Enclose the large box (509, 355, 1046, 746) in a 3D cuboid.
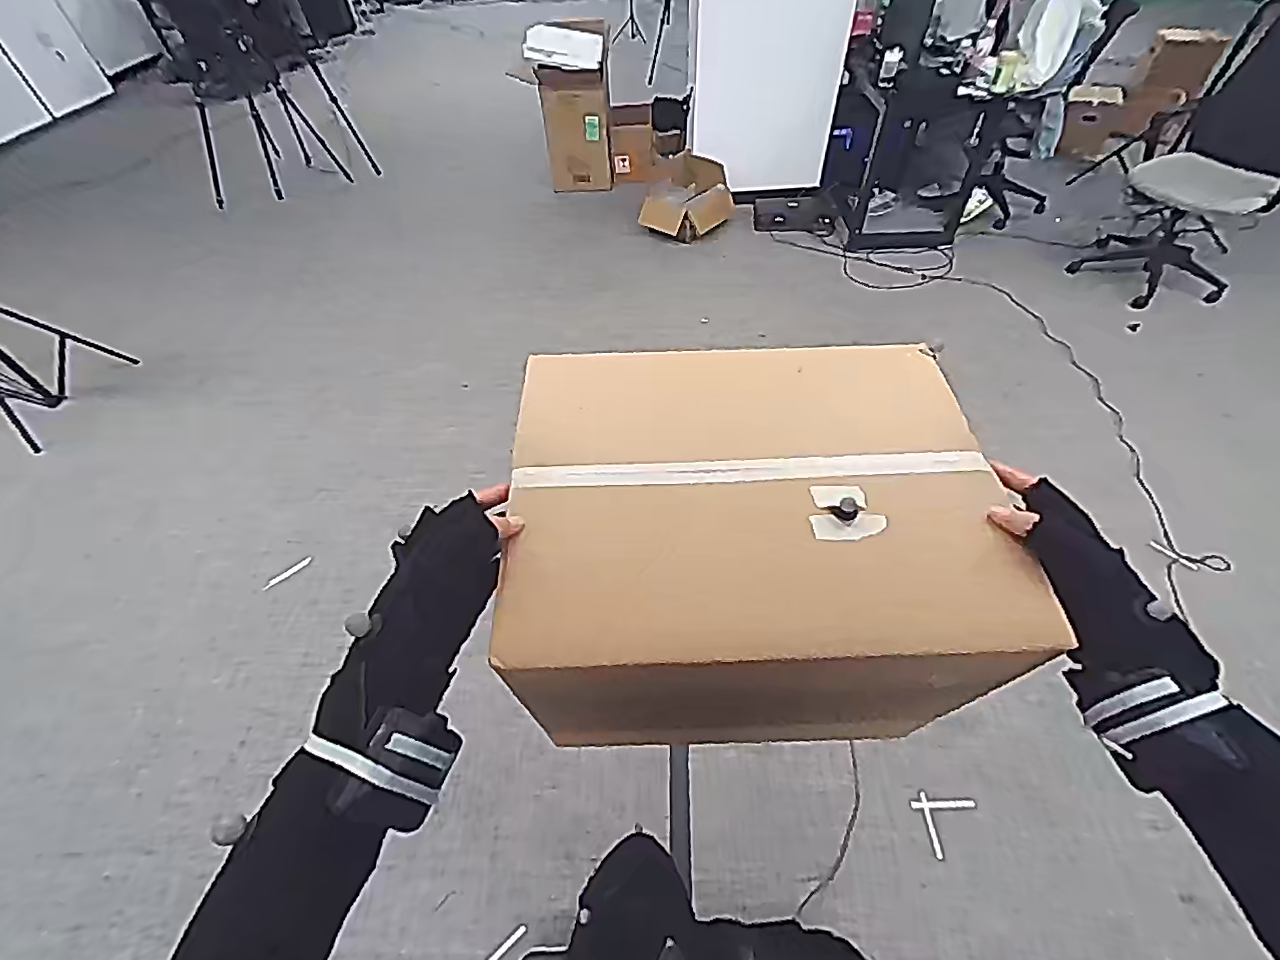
[{"bbox_3d":[0.094,0.088,0.596,0.408,0.320,0.320,-2,55,-1],"label":"large box"}]
